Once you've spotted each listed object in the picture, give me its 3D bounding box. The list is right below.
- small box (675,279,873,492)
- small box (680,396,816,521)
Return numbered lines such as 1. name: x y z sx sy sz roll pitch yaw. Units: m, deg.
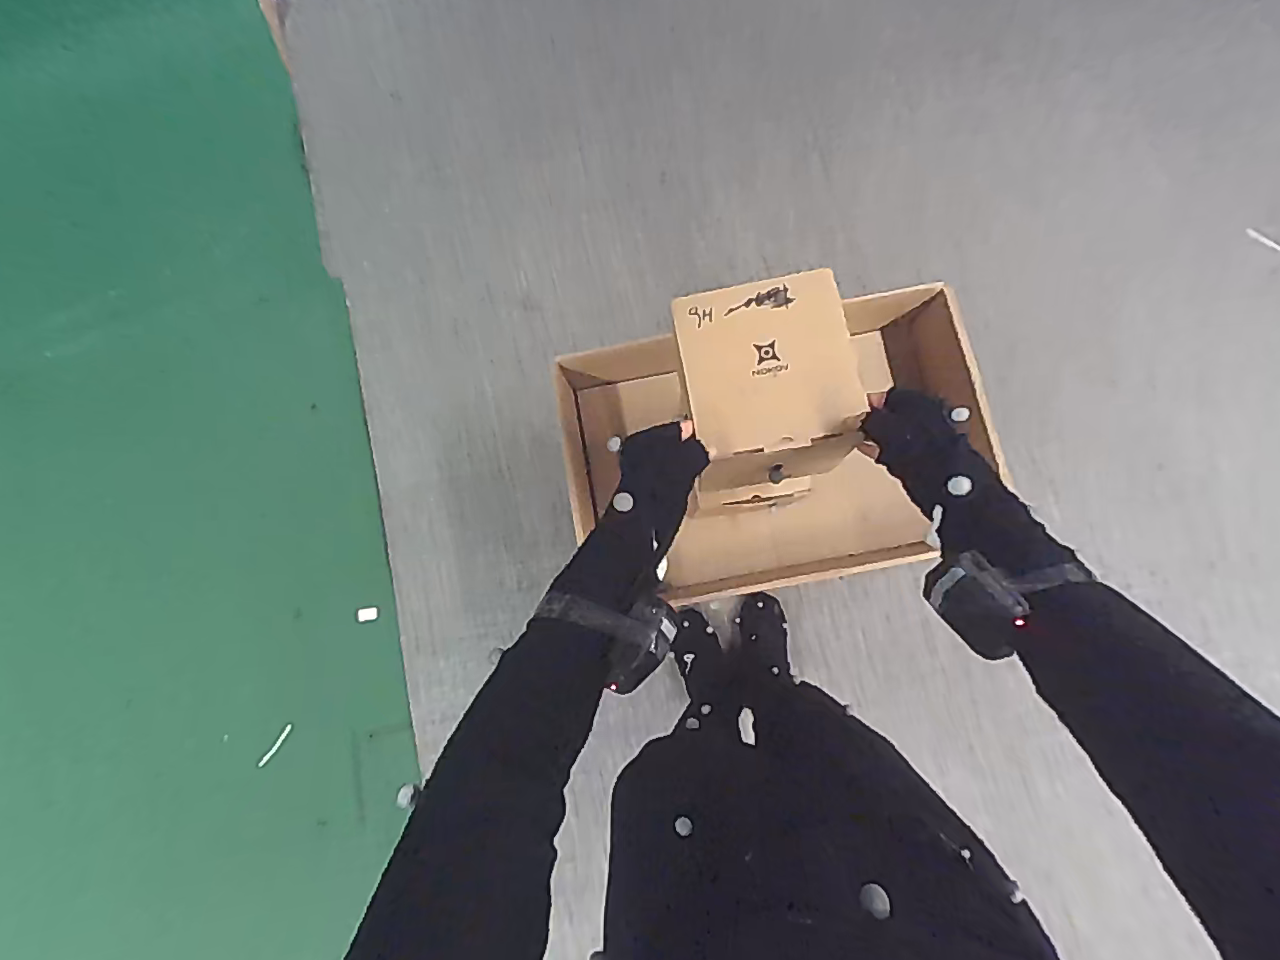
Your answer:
1. small box: 0.137 -0.089 0.607 0.168 0.176 0.179 -10 76 4
2. small box: 0.157 -0.034 0.840 0.168 0.176 0.179 -8 79 0
